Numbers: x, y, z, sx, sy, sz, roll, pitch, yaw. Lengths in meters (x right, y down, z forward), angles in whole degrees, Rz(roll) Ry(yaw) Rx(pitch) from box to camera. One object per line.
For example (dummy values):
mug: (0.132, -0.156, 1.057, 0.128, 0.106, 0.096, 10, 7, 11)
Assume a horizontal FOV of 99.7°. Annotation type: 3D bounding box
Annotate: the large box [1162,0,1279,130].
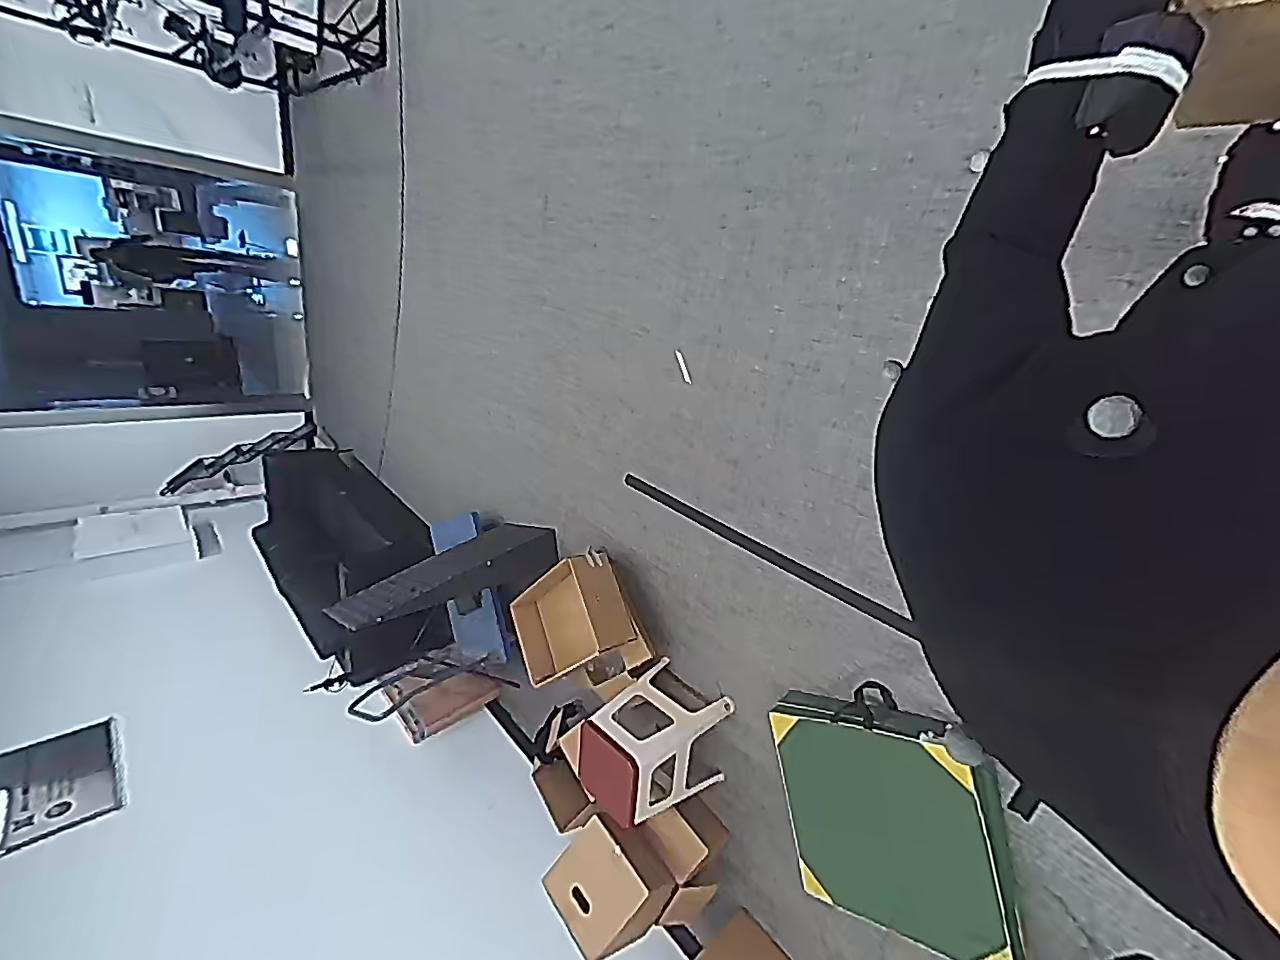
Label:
large box: (0.607, -0.422, 0.291, 0.408, 0.320, 0.320, 24, 119, 39)
